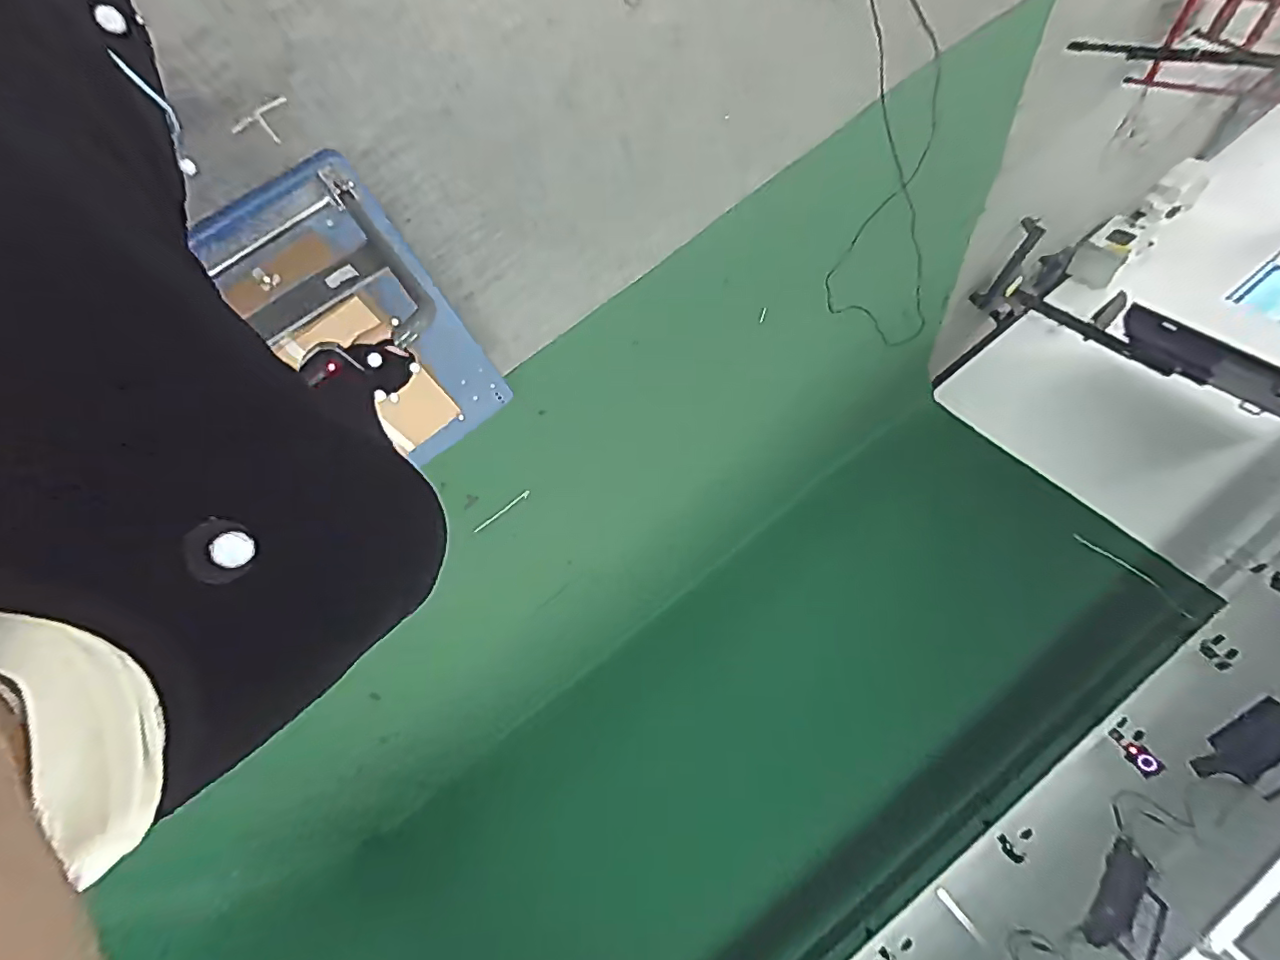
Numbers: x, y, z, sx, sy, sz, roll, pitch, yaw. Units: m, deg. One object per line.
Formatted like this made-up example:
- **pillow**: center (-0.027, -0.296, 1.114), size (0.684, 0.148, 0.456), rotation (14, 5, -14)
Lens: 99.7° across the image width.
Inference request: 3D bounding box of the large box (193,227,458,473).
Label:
- **large box**: center (-0.721, -0.293, 1.278), size (0.320, 0.320, 0.408), rotation (-38, 150, -6)
